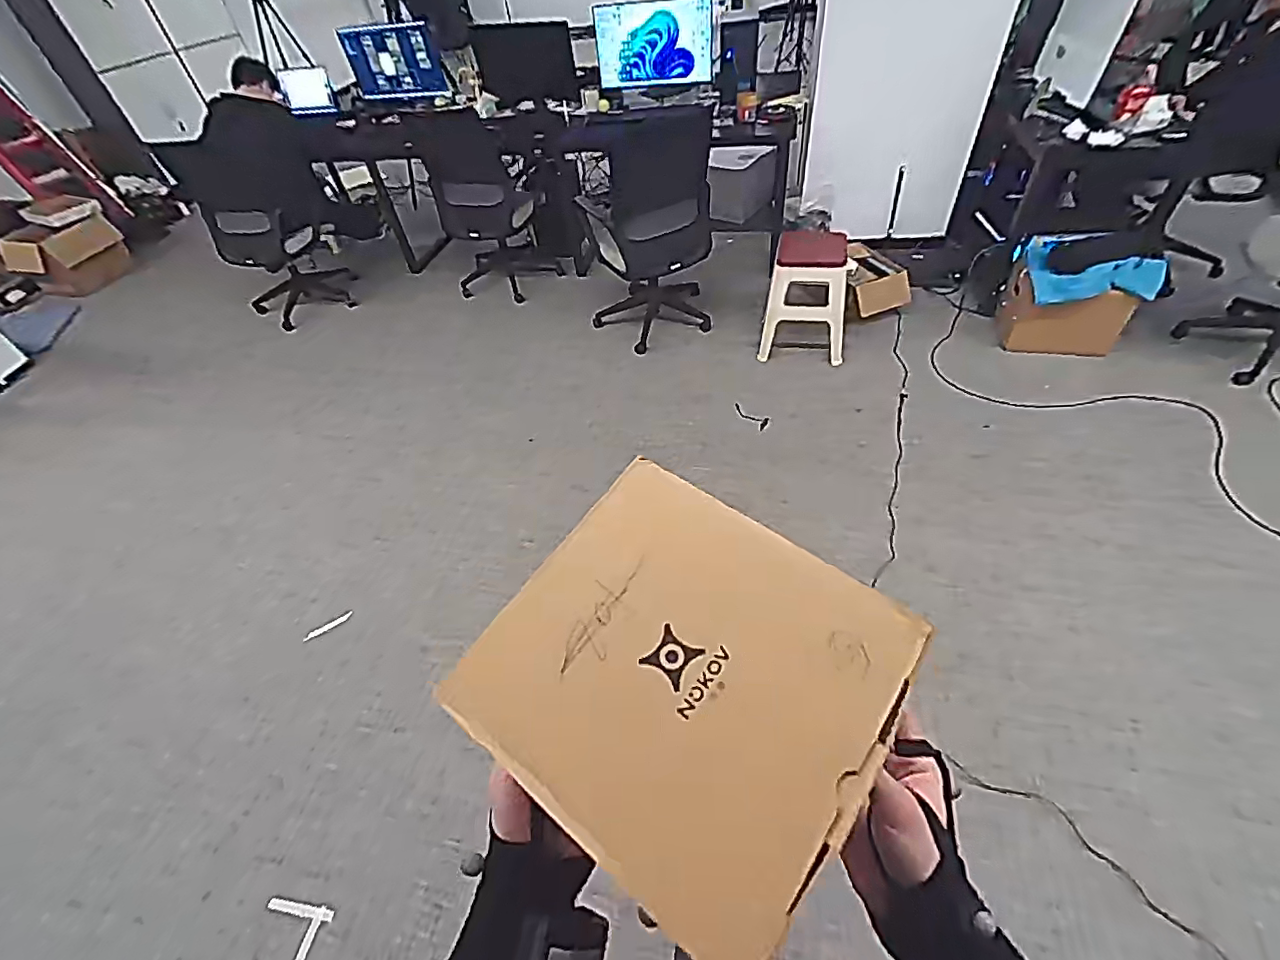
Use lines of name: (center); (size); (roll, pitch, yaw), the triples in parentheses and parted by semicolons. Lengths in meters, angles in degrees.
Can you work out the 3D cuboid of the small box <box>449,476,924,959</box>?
small box: (0.030, 0.134, 0.329); (0.179, 0.176, 0.168); (29, 66, 24)
